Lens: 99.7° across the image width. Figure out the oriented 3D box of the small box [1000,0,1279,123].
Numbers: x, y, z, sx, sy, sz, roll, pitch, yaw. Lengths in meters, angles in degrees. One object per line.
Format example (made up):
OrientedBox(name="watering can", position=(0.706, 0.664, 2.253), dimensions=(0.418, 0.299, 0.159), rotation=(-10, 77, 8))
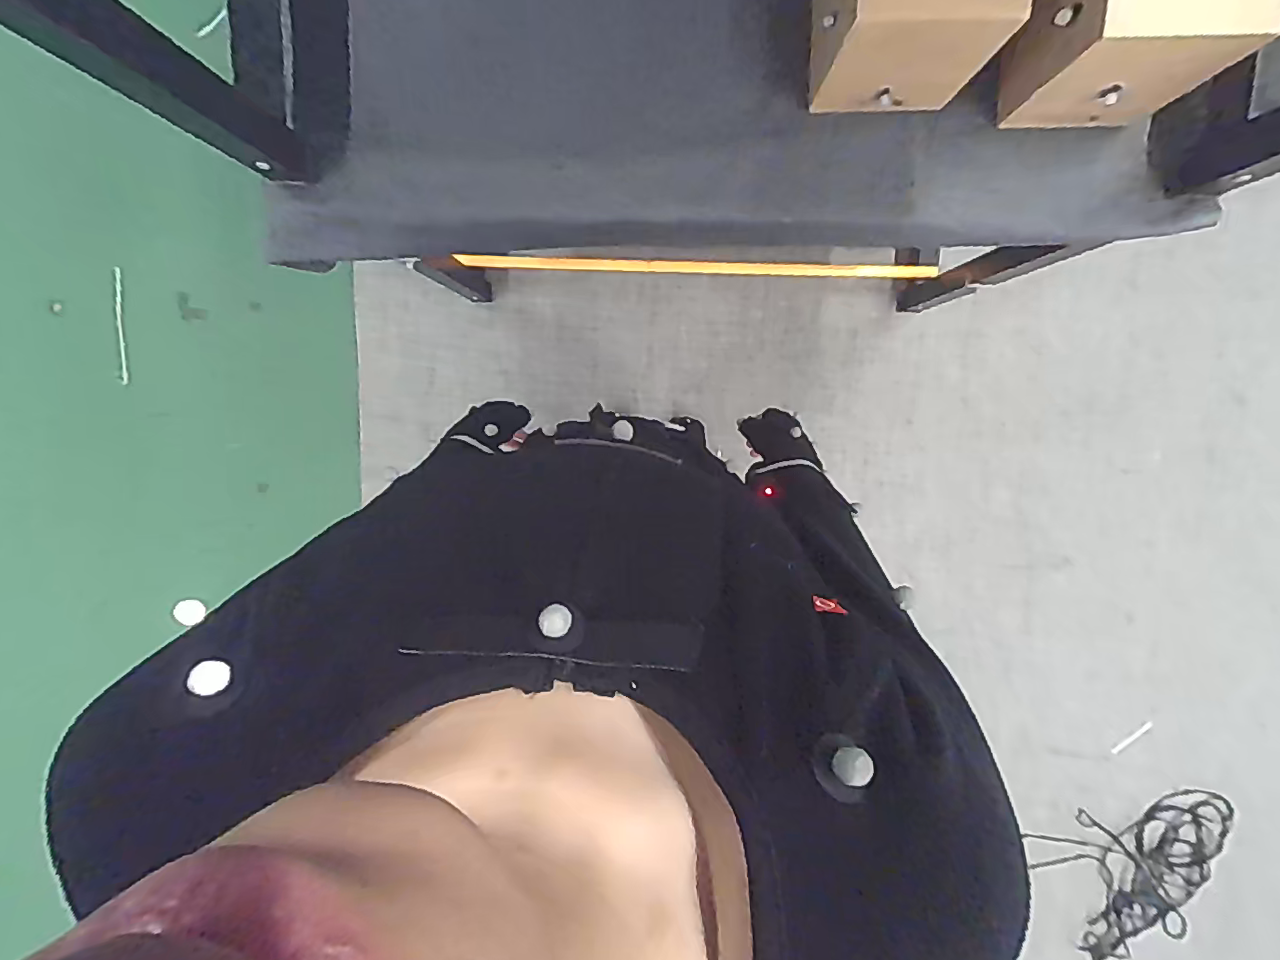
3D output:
OrientedBox(name="small box", position=(0.522, -0.512, 0.579), dimensions=(0.168, 0.176, 0.179), rotation=(0, 97, 2))
